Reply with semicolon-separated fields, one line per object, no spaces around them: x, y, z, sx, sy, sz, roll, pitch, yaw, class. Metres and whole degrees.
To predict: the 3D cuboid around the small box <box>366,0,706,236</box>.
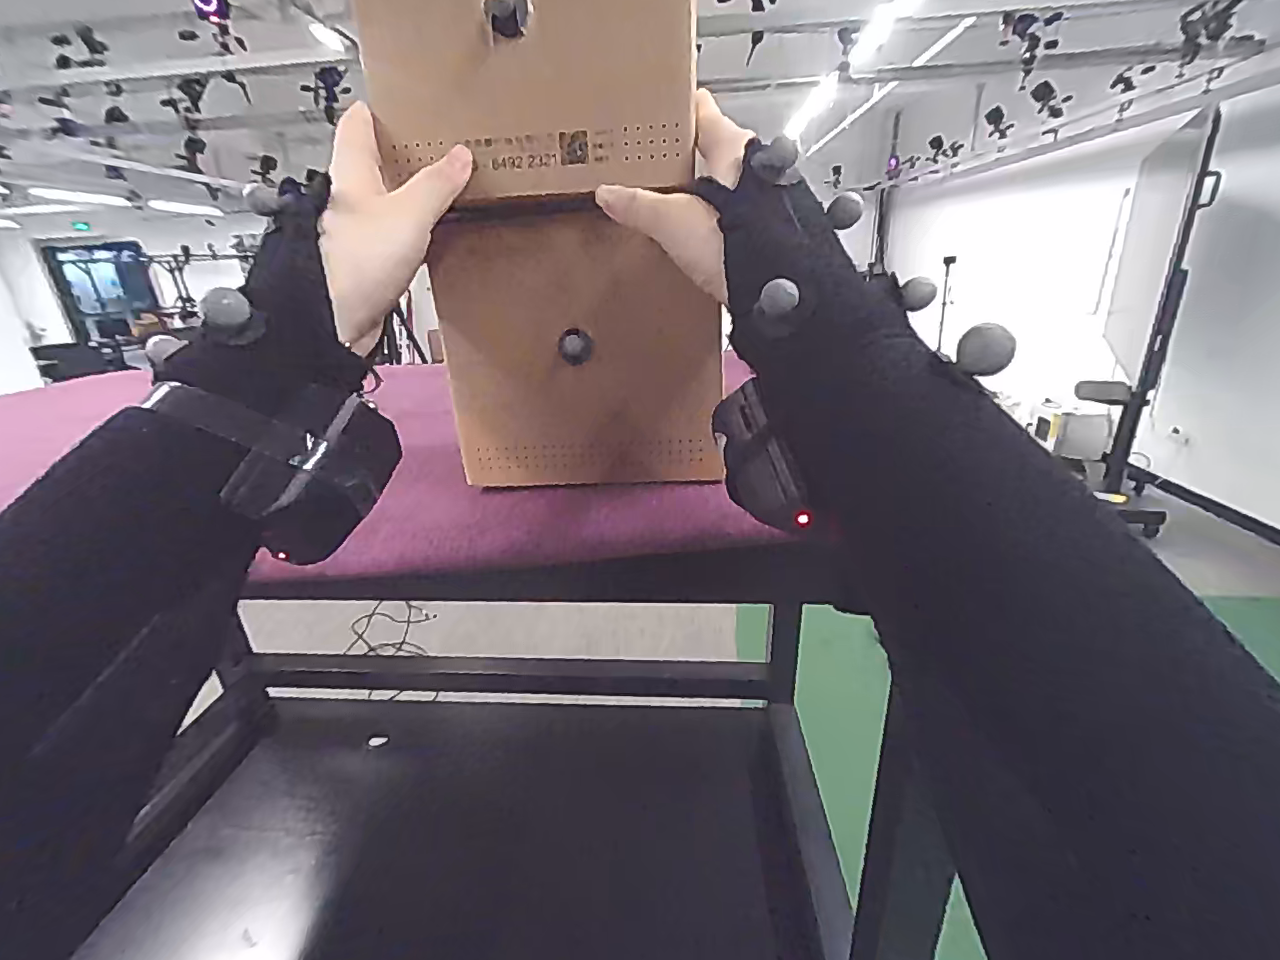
-0.044;-0.250;0.328;0.168;0.176;0.179;0;20;6;small box
